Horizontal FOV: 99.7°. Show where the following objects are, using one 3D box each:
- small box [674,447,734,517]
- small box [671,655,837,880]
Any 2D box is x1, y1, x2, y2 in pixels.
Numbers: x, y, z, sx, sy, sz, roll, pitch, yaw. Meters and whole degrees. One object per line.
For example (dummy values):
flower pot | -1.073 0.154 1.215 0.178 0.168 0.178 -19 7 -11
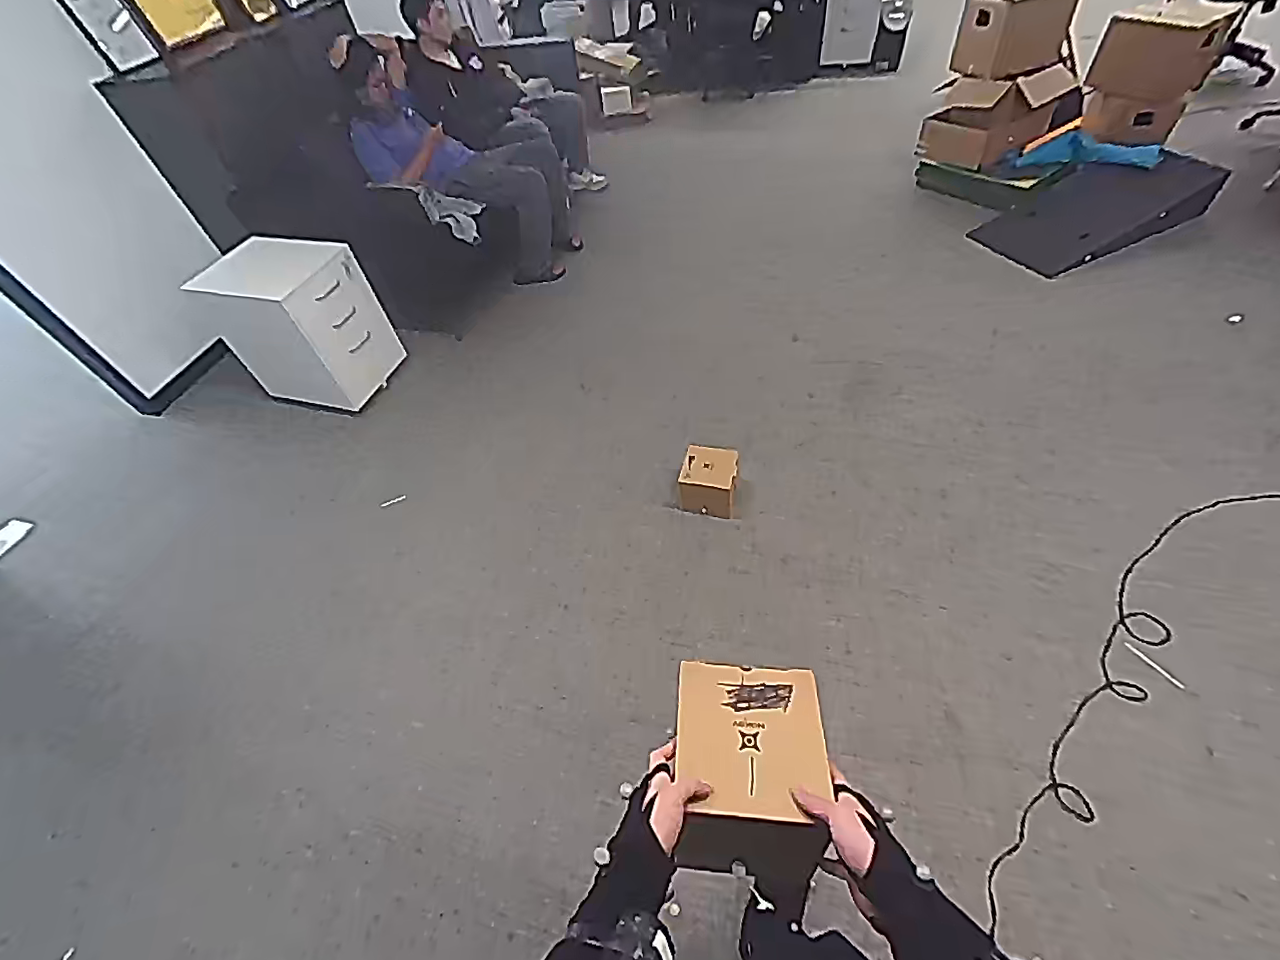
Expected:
small box | 0.222 0.012 1.865 0.179 0.176 0.168 8 54 13
small box | 0.127 0.342 0.653 0.168 0.176 0.179 4 38 7
